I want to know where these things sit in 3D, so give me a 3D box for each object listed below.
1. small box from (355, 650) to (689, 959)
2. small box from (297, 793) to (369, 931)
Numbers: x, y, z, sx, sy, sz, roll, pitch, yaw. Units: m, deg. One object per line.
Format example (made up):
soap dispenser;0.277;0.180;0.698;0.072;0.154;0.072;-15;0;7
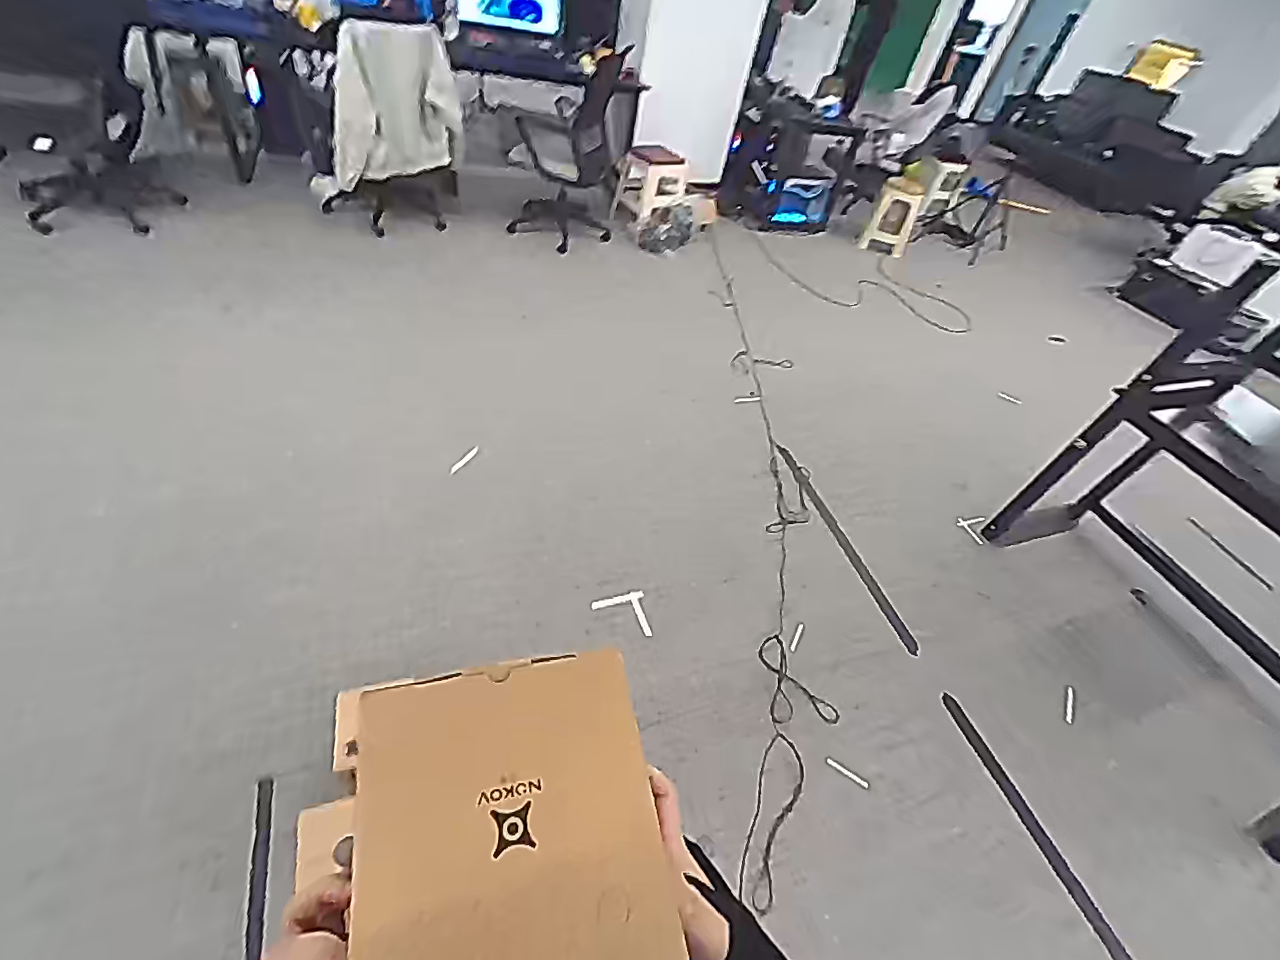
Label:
small box;-0.081;0.239;0.369;0.168;0.176;0.179;-3;52;-16
small box;-0.497;0.683;0.981;0.179;0.176;0.168;-9;50;-20
